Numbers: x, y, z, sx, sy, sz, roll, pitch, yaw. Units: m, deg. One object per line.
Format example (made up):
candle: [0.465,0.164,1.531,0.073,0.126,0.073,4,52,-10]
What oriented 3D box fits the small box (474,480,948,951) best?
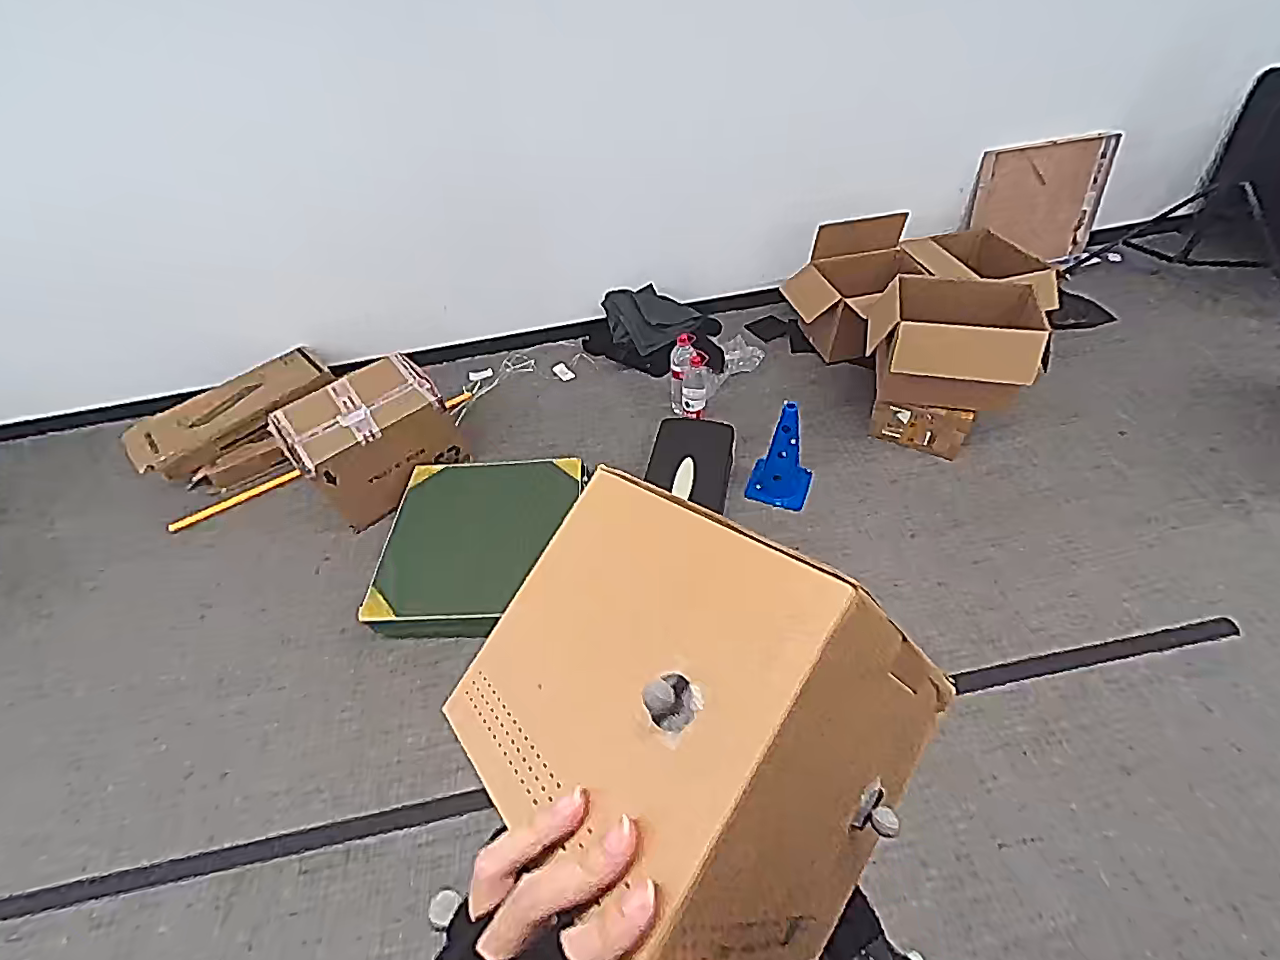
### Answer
small box: [0.037,0.129,0.317,0.179,0.168,0.176,24,79,49]
